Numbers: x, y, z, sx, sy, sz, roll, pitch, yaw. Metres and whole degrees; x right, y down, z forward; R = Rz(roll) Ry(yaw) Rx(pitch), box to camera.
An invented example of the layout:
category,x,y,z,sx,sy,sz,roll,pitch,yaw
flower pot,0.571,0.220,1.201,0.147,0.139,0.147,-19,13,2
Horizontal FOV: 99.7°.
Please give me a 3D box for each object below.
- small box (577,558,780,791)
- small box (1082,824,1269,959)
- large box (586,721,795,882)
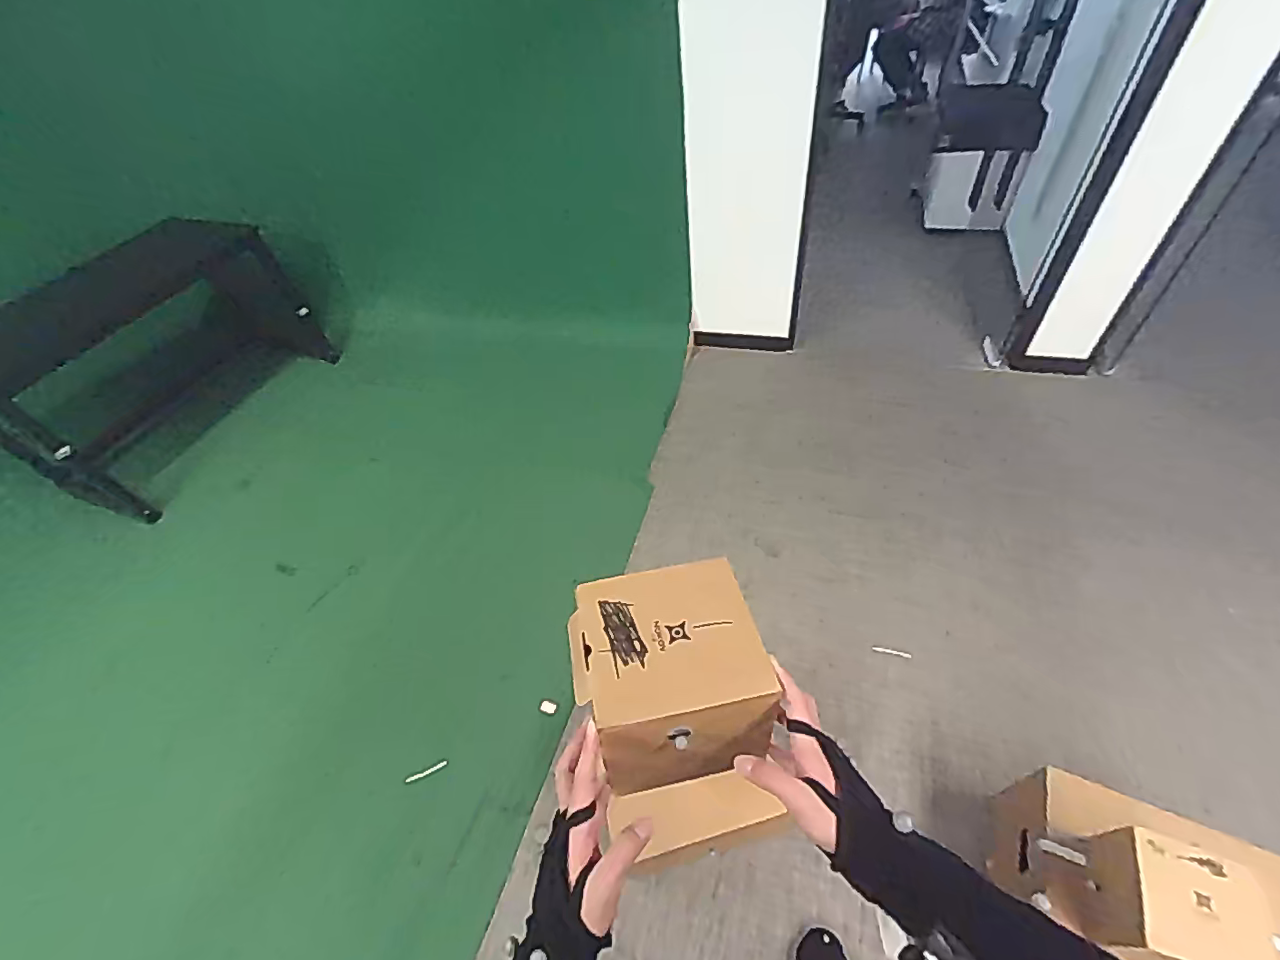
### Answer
category,x,y,z,sx,sy,sz,roll,pitch,yaw
small box,0.036,0.215,0.595,0.179,0.176,0.168,-10,43,-7
small box,0.878,0.717,0.905,0.168,0.176,0.179,14,54,19
large box,0.117,0.731,1.326,0.408,0.320,0.320,-16,48,-5
